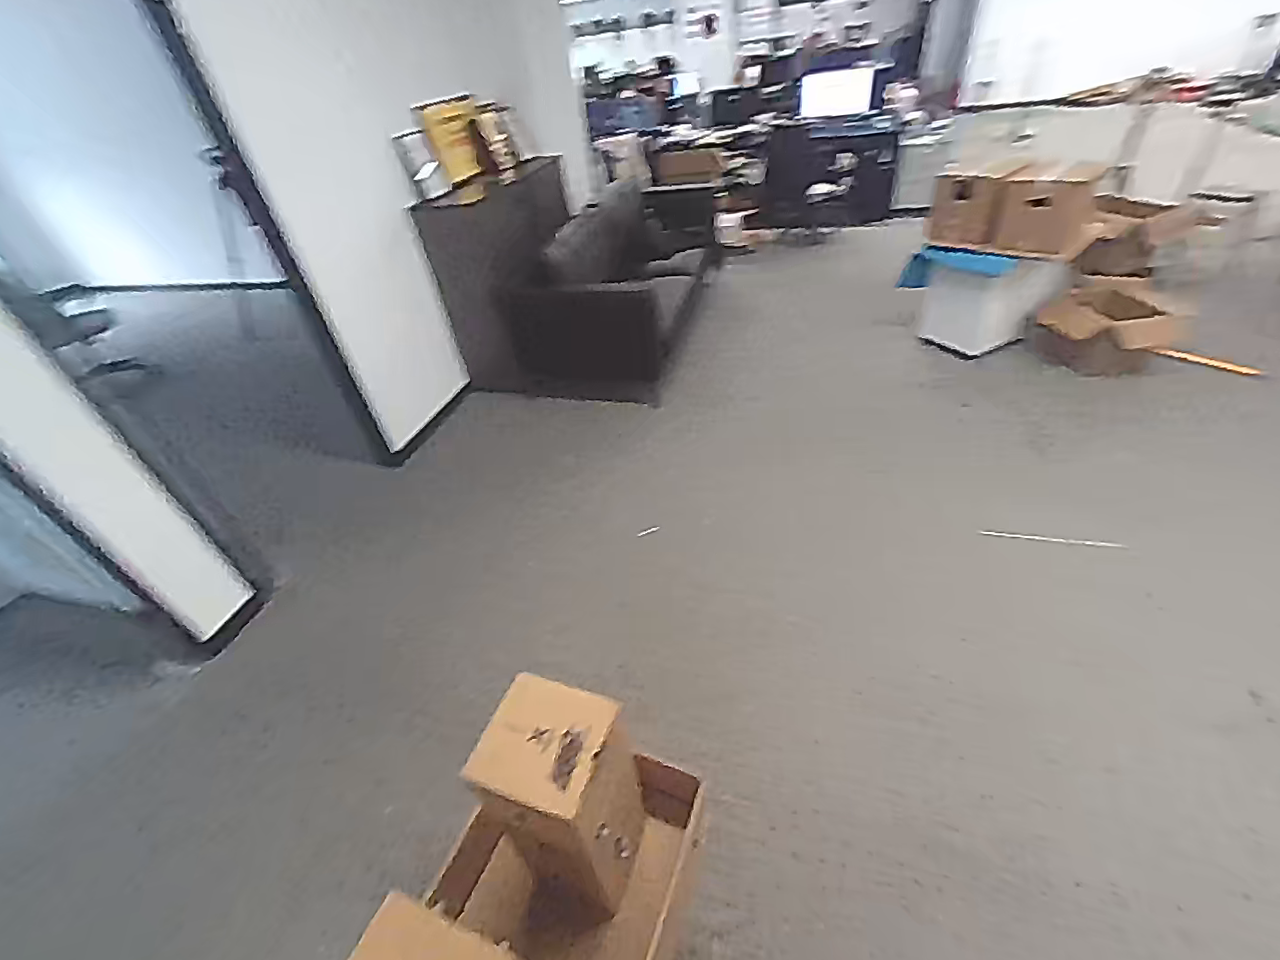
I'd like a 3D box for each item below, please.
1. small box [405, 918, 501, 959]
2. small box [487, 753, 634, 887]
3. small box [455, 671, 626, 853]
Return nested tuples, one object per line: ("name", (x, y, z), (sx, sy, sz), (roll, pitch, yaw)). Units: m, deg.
("small box", (-0.235, 0.728, 0.706), (0.179, 0.176, 0.168), (12, 42, 21))
("small box", (-0.122, 0.545, 0.910), (0.179, 0.176, 0.168), (11, 43, 19))
("small box", (-0.133, 0.420, 0.804), (0.179, 0.176, 0.168), (9, 43, 20))
